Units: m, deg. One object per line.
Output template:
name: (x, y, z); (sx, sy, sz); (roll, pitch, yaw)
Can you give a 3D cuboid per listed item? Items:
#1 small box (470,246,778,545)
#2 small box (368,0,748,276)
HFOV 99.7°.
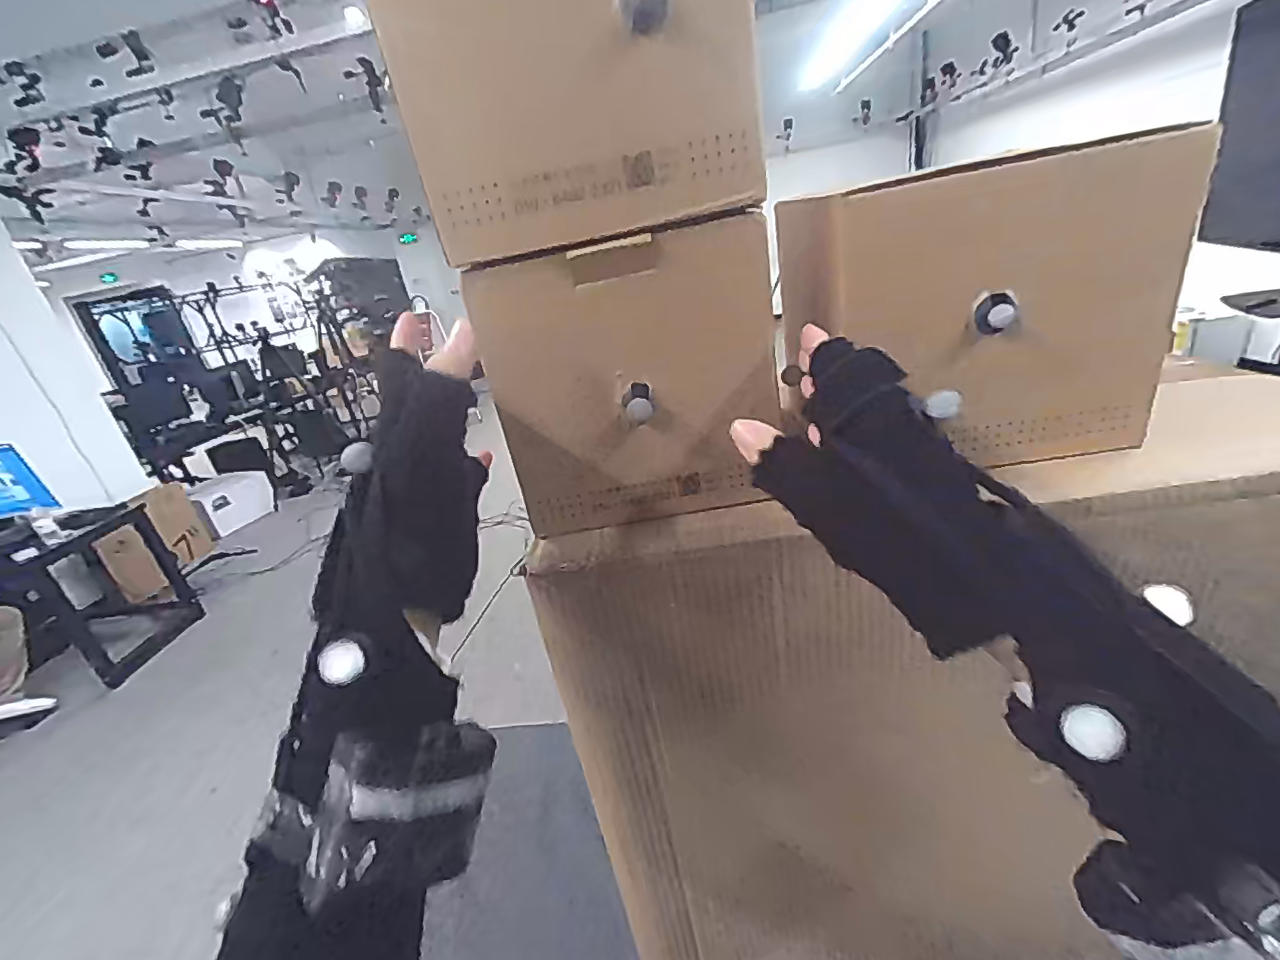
small box: (-0.003, -0.065, 0.405); (0.168, 0.176, 0.179); (-12, 24, 2)
small box: (-0.036, -0.225, 0.325); (0.168, 0.176, 0.179); (-9, 24, 3)
